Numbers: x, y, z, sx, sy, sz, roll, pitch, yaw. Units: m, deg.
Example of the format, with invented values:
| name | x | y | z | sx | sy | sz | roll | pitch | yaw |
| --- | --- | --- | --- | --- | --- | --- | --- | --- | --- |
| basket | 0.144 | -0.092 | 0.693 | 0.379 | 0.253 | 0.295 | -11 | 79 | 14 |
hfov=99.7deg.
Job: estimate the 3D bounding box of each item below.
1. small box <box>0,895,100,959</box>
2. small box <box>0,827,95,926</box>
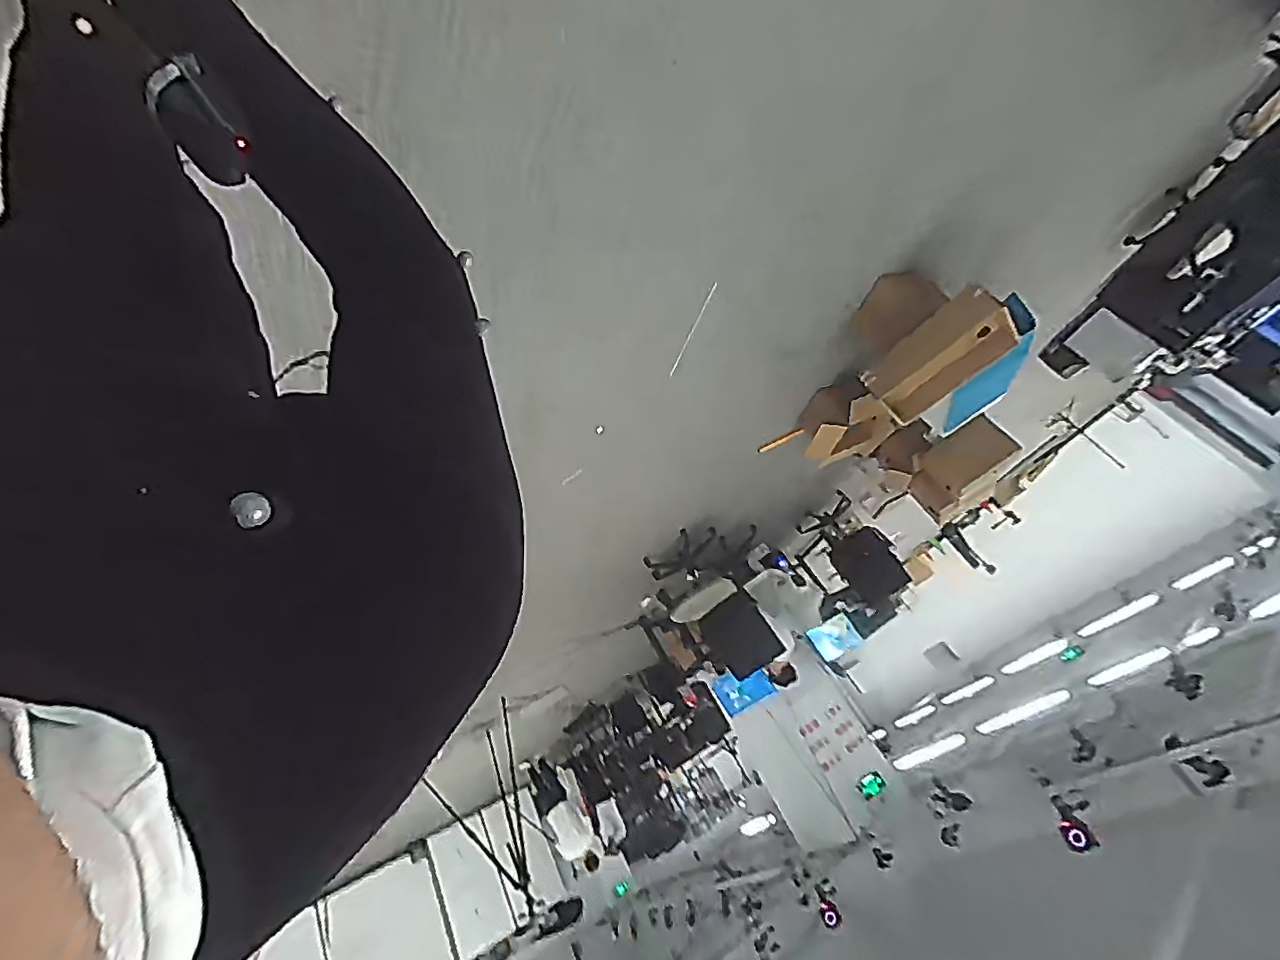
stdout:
| name | x | y | z | sx | sy | sz | roll | pitch | yaw |
| --- | --- | --- | --- | --- | --- | --- | --- | --- | --- |
| small box | -1.456 | 1.150 | 1.314 | 0.168 | 0.176 | 0.179 | -13 | 149 | -36 |
| small box | -1.536 | 1.028 | 1.388 | 0.168 | 0.176 | 0.179 | -12 | 147 | -37 |
